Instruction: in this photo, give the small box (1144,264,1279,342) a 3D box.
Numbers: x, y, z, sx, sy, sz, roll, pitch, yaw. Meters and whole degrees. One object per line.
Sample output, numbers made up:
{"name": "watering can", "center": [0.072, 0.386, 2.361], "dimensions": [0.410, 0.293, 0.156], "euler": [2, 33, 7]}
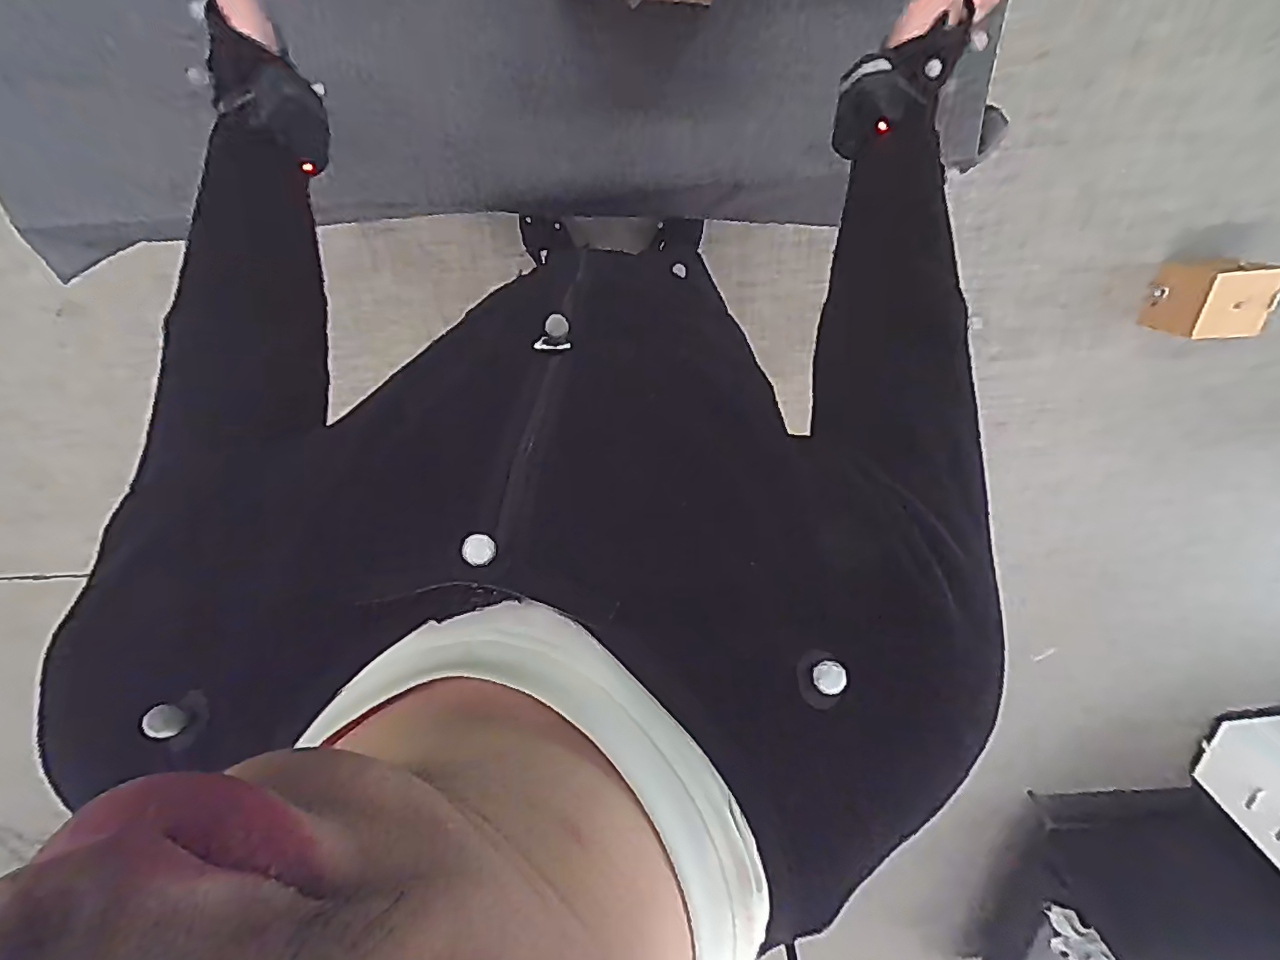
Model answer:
{"name": "small box", "center": [1.480, -0.458, 1.392], "dimensions": [0.179, 0.176, 0.168], "euler": [-2, 118, 0]}
